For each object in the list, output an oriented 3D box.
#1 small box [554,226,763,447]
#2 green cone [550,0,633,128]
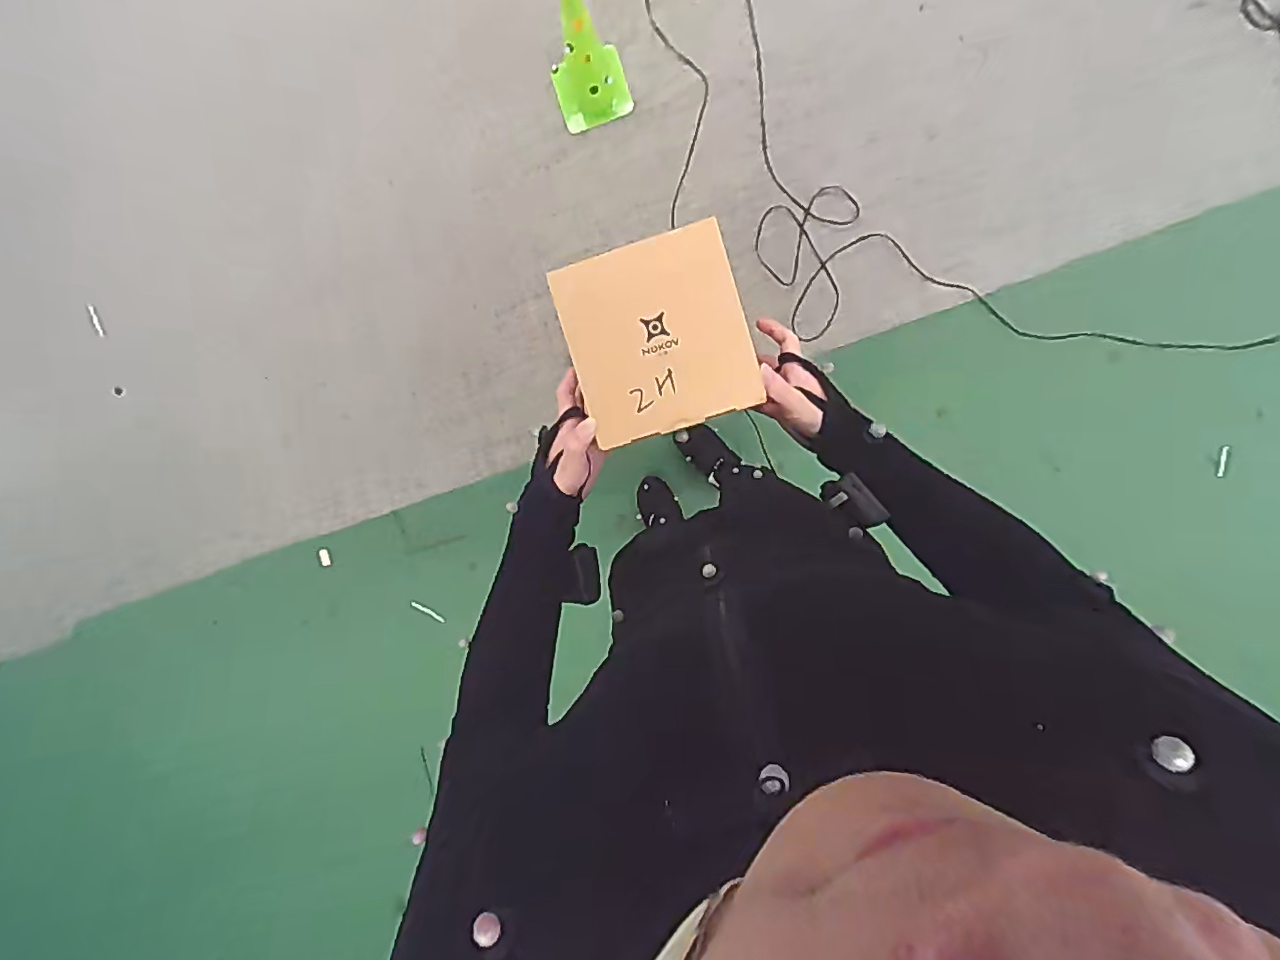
[{"bbox_3d":[0.021,-0.139,0.590,0.168,0.176,0.179,-15,94,5],"label":"small box"},{"bbox_3d":[-0.146,-1.121,1.387,0.202,0.368,0.200,-18,94,3],"label":"green cone"}]
